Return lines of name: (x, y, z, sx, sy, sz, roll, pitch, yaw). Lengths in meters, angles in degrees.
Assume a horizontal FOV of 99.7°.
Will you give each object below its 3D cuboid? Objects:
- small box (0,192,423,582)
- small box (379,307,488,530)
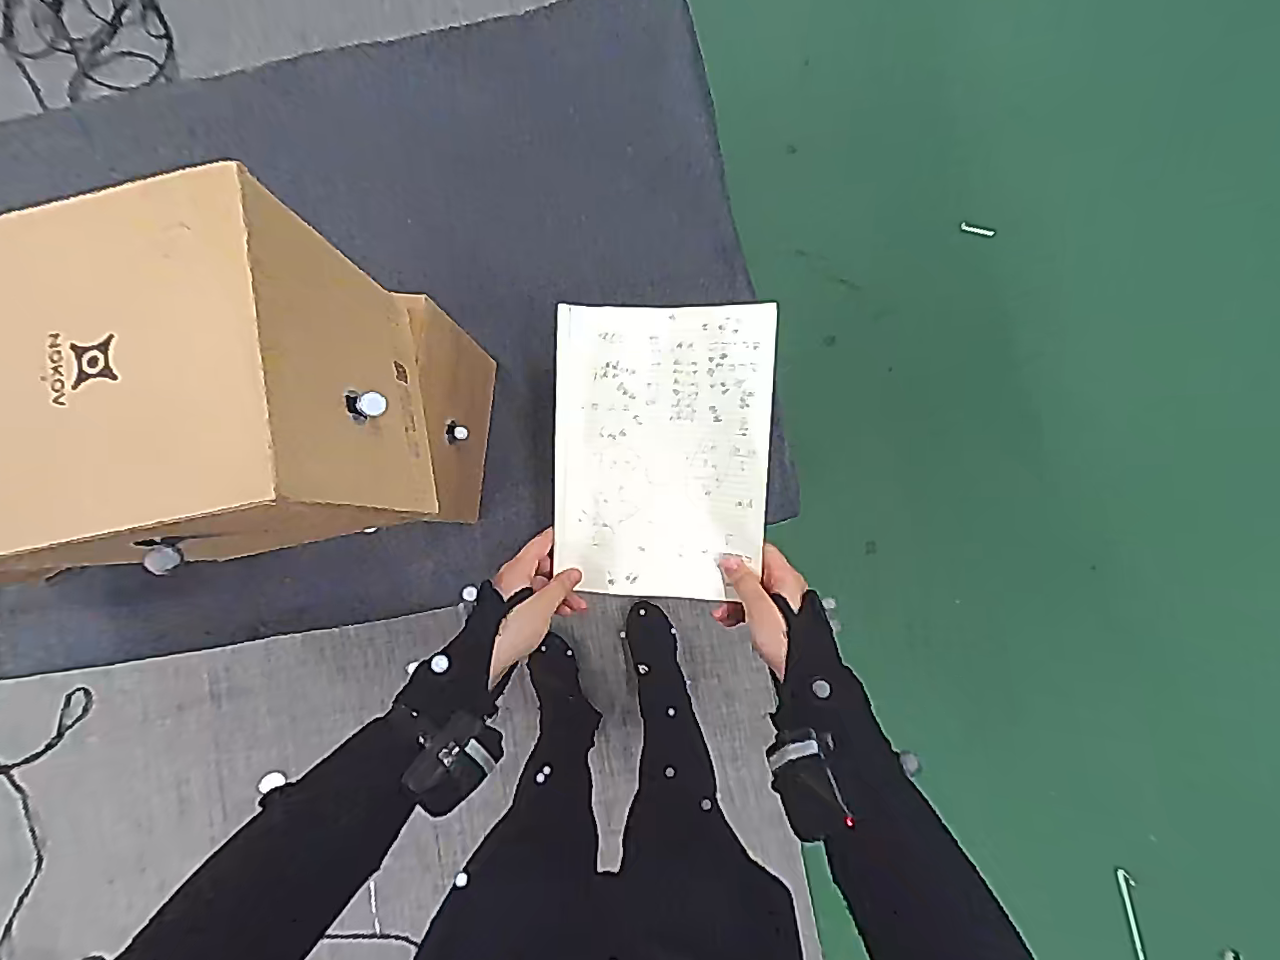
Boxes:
small box: (-0.256, -0.039, 0.340, 0.179, 0.176, 0.168, -12, 84, 3)
small box: (-0.252, -0.048, 0.504, 0.168, 0.176, 0.179, 5, 85, 5)
